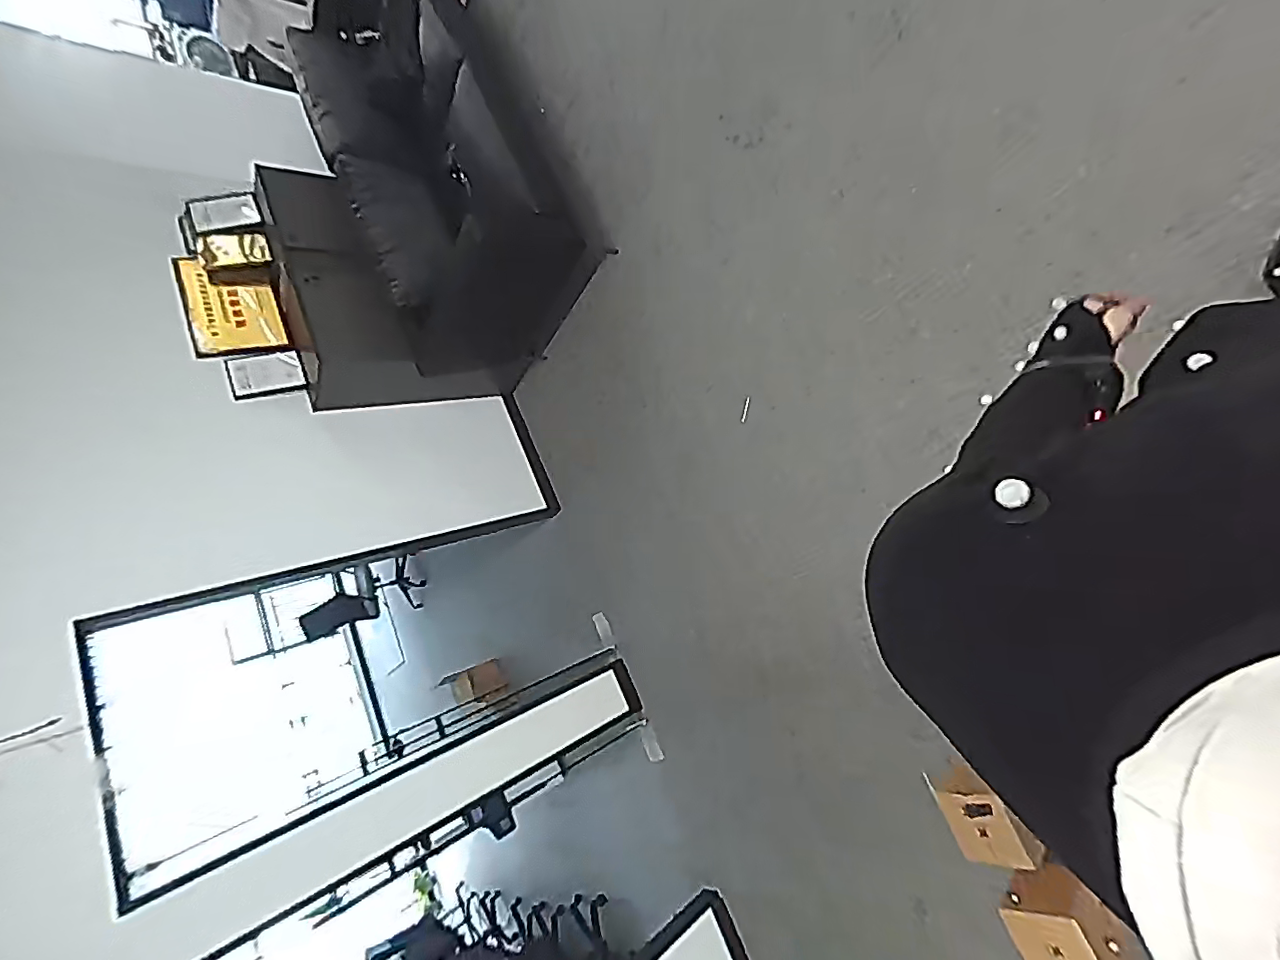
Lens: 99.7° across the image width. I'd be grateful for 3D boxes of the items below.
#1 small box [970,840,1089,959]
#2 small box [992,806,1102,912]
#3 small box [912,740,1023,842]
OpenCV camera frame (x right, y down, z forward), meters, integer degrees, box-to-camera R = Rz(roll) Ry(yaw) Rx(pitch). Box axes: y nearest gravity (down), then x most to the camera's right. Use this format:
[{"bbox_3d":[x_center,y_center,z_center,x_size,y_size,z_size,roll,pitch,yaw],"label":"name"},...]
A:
[{"bbox_3d":[0.977,1.034,1.349,0.179,0.176,0.168,-39,72,48],"label":"small box"},{"bbox_3d":[1.098,1.006,1.454,0.179,0.176,0.168,-36,73,48],"label":"small box"},{"bbox_3d":[0.857,0.801,1.415,0.168,0.176,0.179,-34,76,49],"label":"small box"}]
